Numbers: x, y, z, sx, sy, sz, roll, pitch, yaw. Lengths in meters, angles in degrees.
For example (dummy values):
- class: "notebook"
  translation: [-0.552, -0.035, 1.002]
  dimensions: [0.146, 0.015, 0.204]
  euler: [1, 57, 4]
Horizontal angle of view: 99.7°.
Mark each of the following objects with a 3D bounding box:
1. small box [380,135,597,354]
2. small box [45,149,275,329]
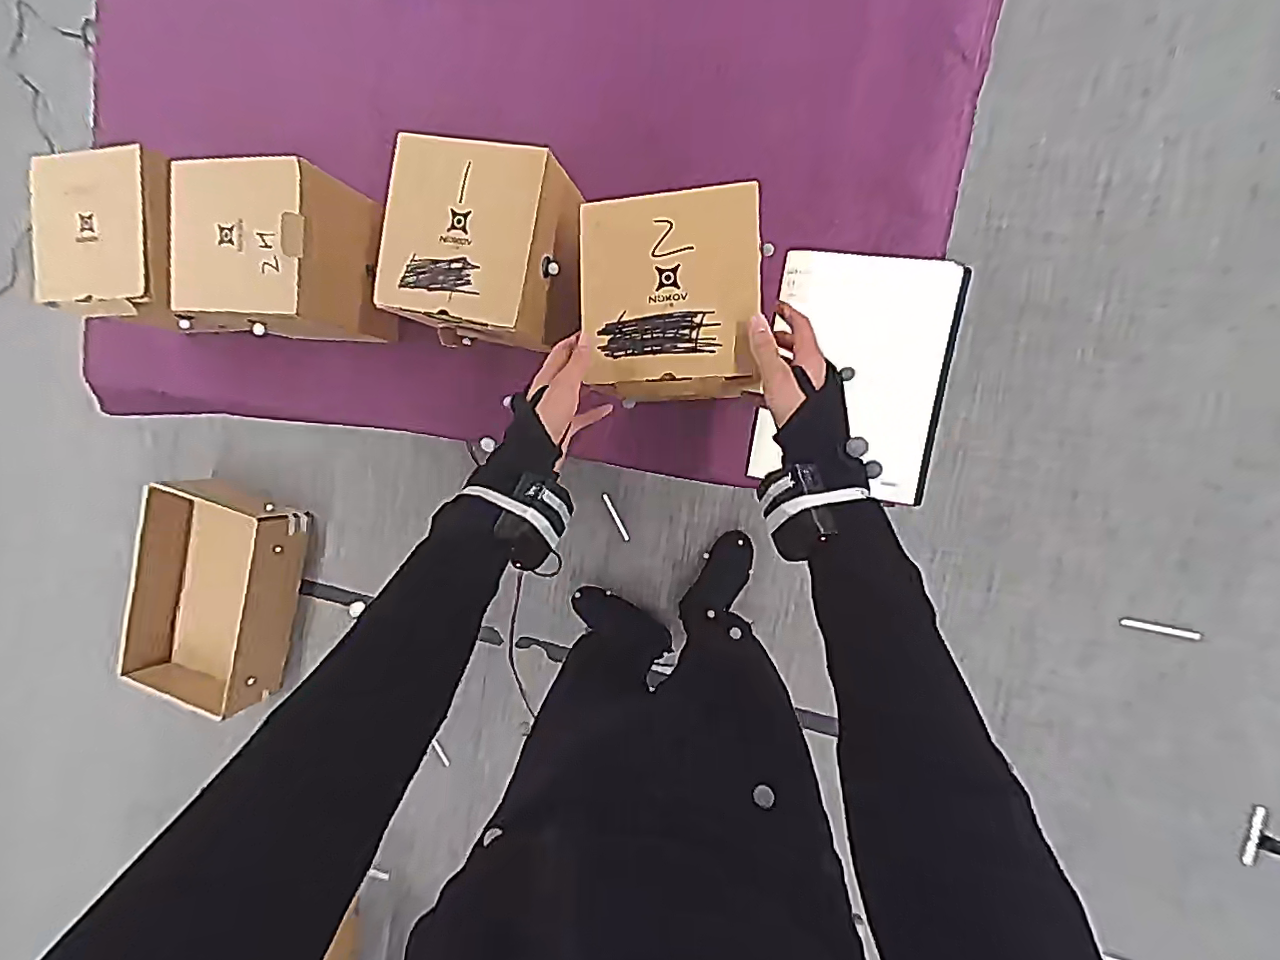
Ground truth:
- class: "small box"
  translation: [-0.160, -0.252, 0.617]
  dimensions: [0.168, 0.176, 0.179]
  euler: [13, 96, 11]
- class: "small box"
  translation: [-0.620, -0.300, 0.717]
  dimensions: [0.168, 0.176, 0.179]
  euler: [2, 93, 12]
